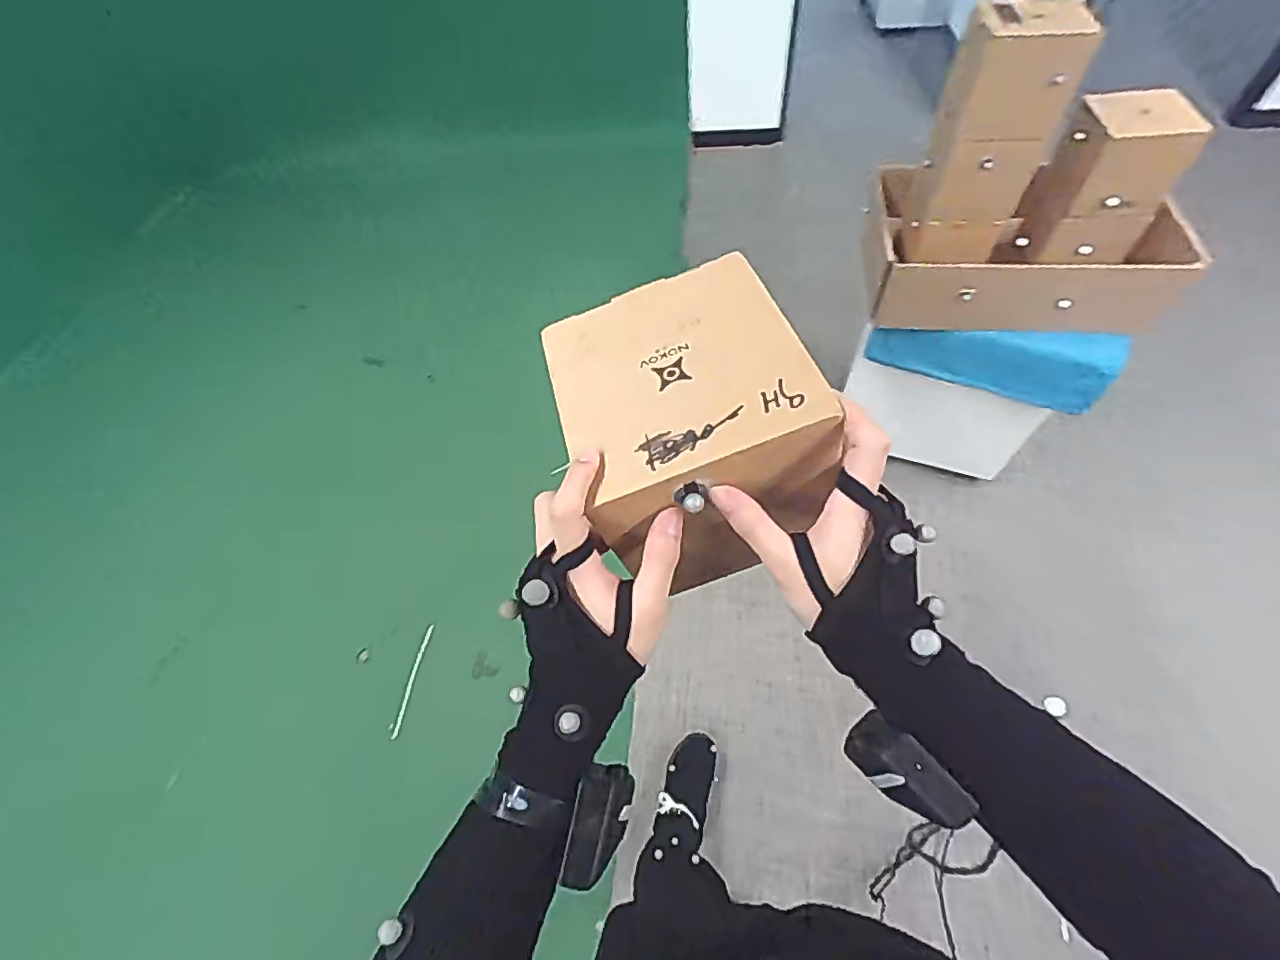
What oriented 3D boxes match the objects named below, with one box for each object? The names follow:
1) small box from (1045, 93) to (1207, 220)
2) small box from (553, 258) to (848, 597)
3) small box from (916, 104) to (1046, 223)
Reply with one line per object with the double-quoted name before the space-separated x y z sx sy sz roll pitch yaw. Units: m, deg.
"small box" 0.986 -0.667 1.121 0.168 0.176 0.179 1 57 10
"small box" 0.047 -0.034 0.431 0.168 0.176 0.179 -21 54 6
"small box" 0.711 -0.671 1.157 0.179 0.176 0.168 3 58 7
